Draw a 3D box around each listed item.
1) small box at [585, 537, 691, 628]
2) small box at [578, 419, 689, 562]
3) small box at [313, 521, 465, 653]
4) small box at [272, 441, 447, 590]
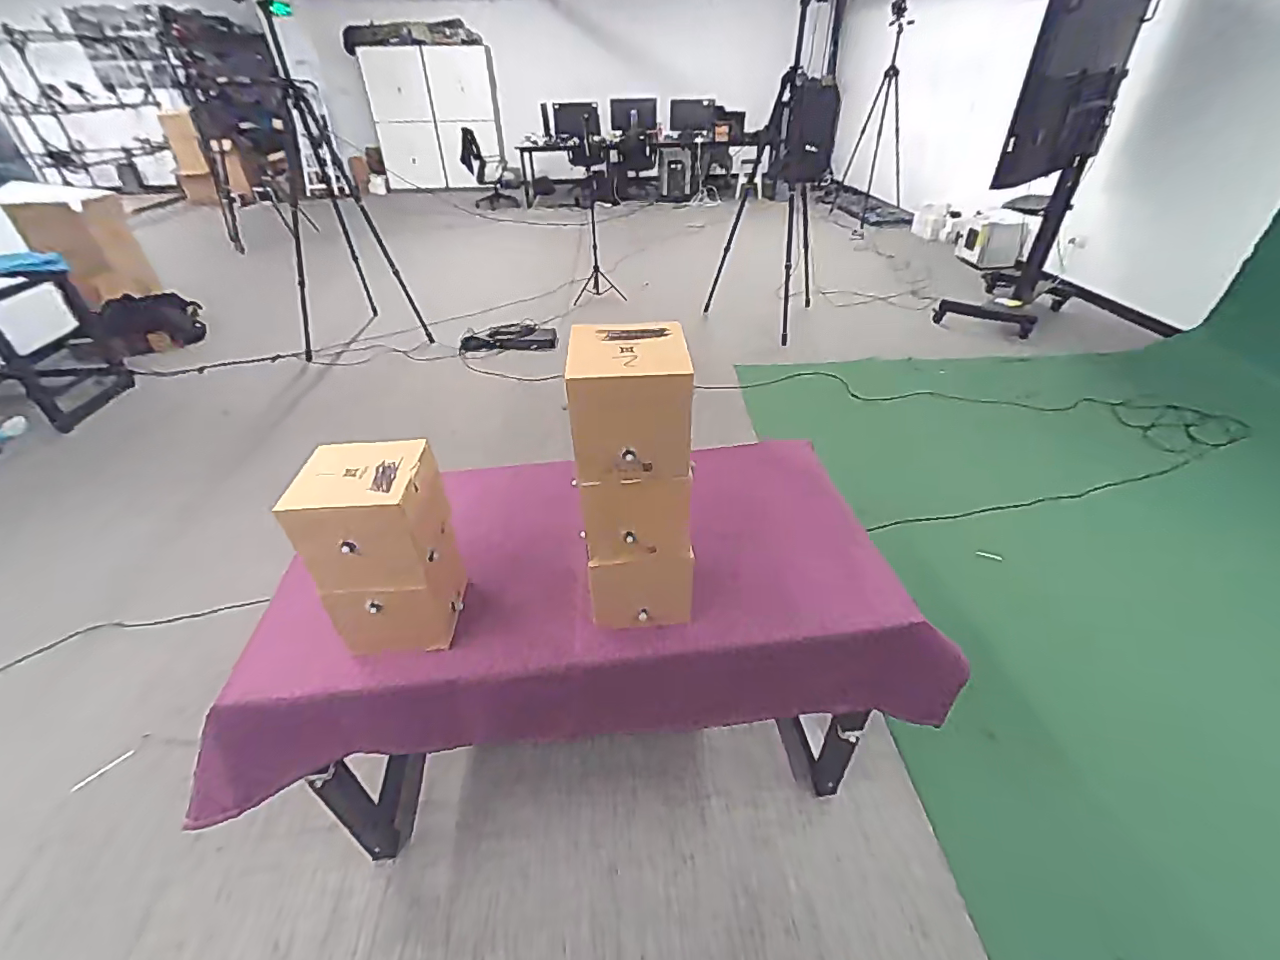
[{"bbox_3d":[-0.009,0.152,0.990,0.179,0.176,0.168,-3,37,-4],"label":"small box"},{"bbox_3d":[-0.014,0.015,0.900,0.168,0.176,0.179,-3,38,-3],"label":"small box"},{"bbox_3d":[-0.427,0.188,0.952,0.179,0.176,0.168,-2,38,-3],"label":"small box"},{"bbox_3d":[-0.423,0.056,0.856,0.179,0.176,0.168,-4,38,-2],"label":"small box"}]
